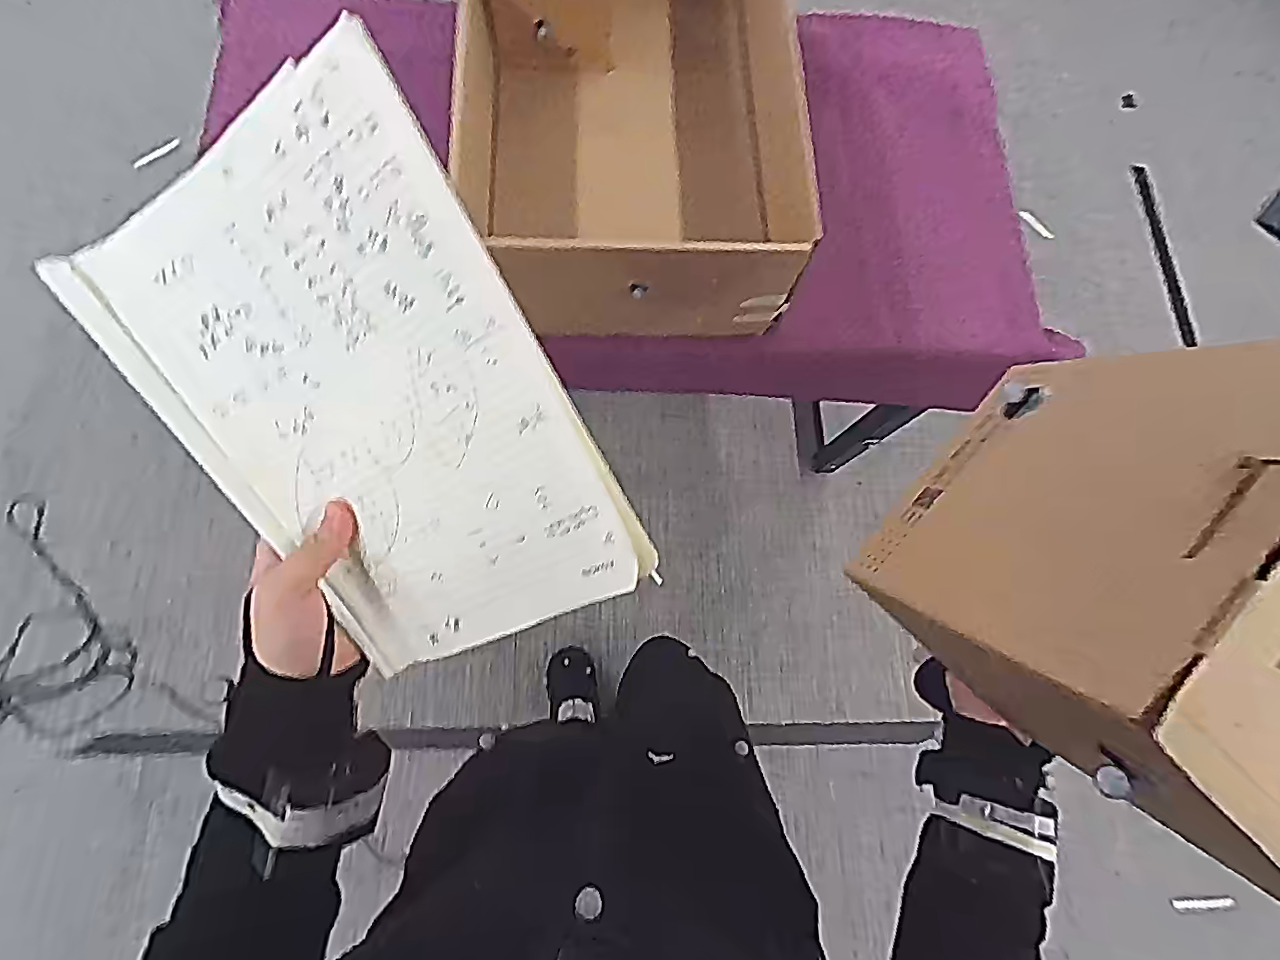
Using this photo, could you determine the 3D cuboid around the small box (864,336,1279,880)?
[{"bbox_3d":[0.253,0.053,0.264,0.179,0.176,0.168,40,89,-12],"label":"small box"}]
